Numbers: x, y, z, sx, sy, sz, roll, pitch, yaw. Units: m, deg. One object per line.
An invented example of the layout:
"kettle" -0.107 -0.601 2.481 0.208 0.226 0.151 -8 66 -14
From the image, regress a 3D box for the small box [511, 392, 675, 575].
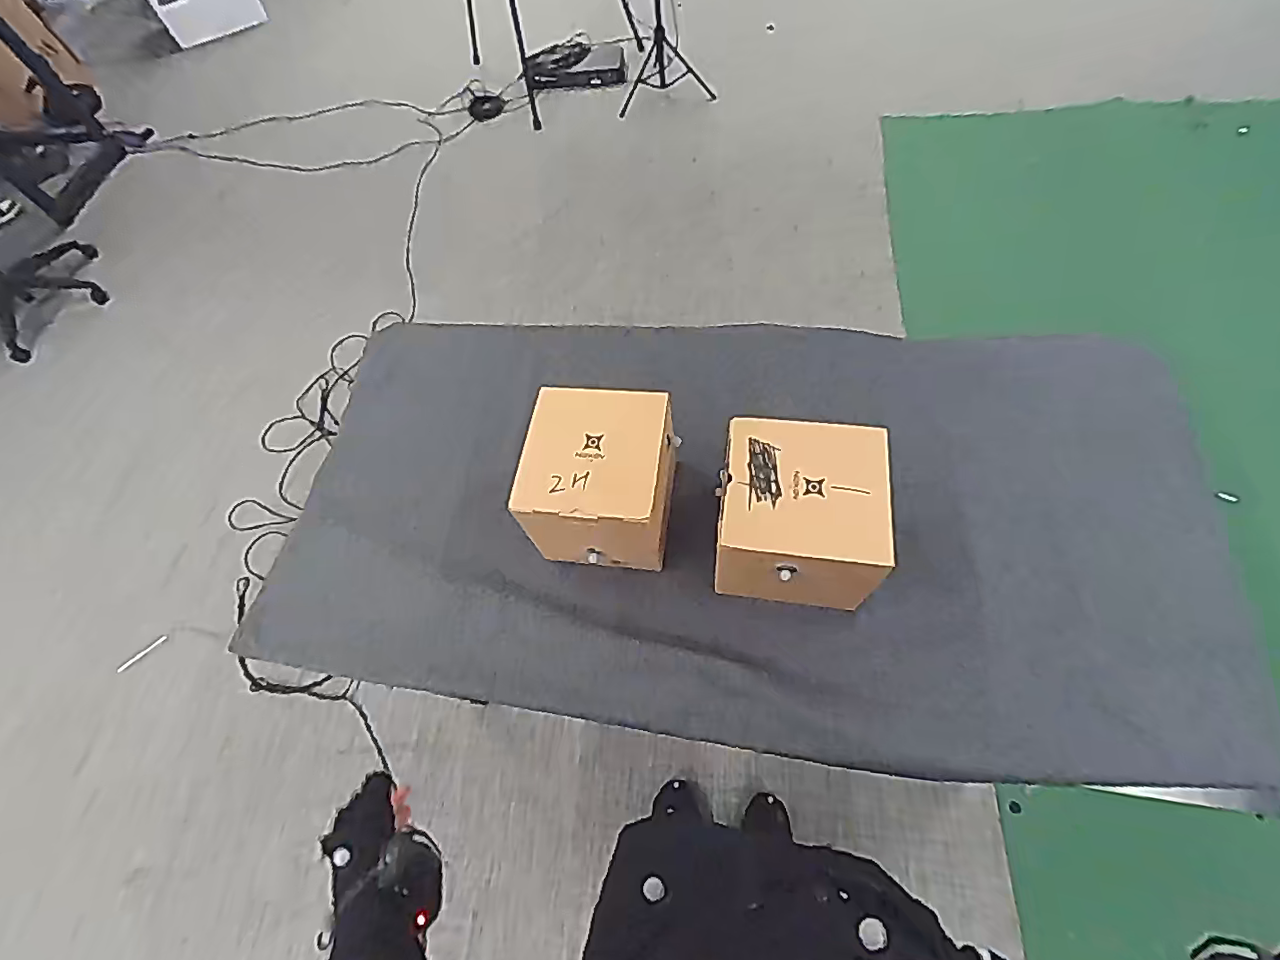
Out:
"small box" -0.047 0.007 0.708 0.168 0.176 0.179 4 62 10
